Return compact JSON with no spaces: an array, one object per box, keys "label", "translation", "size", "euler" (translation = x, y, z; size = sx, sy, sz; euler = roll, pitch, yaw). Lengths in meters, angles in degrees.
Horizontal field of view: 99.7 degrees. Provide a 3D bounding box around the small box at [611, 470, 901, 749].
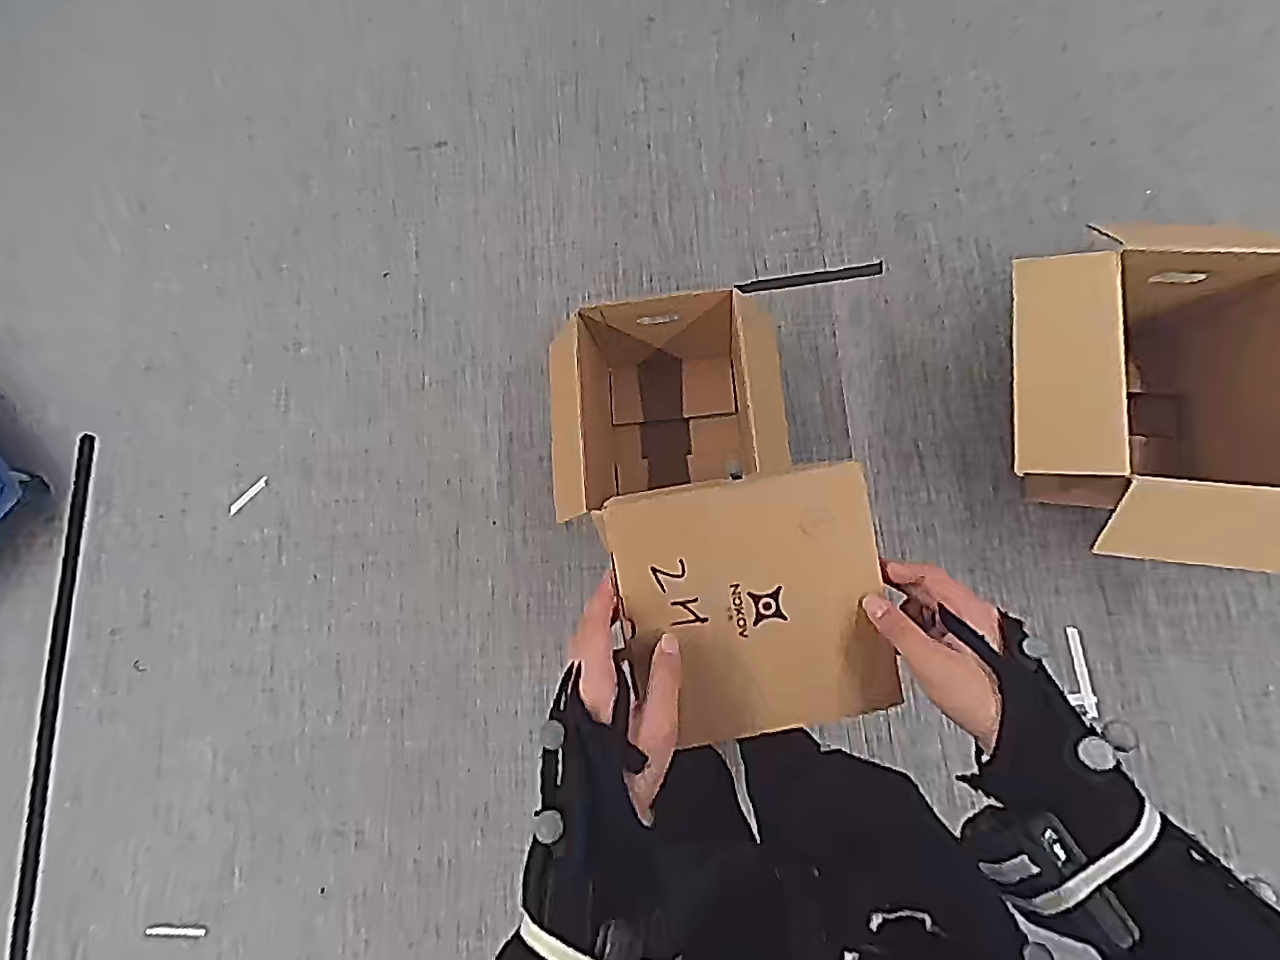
[{"label":"small box","translation":[0.076,0.084,0.438],"size":[0.179,0.176,0.168],"euler":[-10,90,0]}]
